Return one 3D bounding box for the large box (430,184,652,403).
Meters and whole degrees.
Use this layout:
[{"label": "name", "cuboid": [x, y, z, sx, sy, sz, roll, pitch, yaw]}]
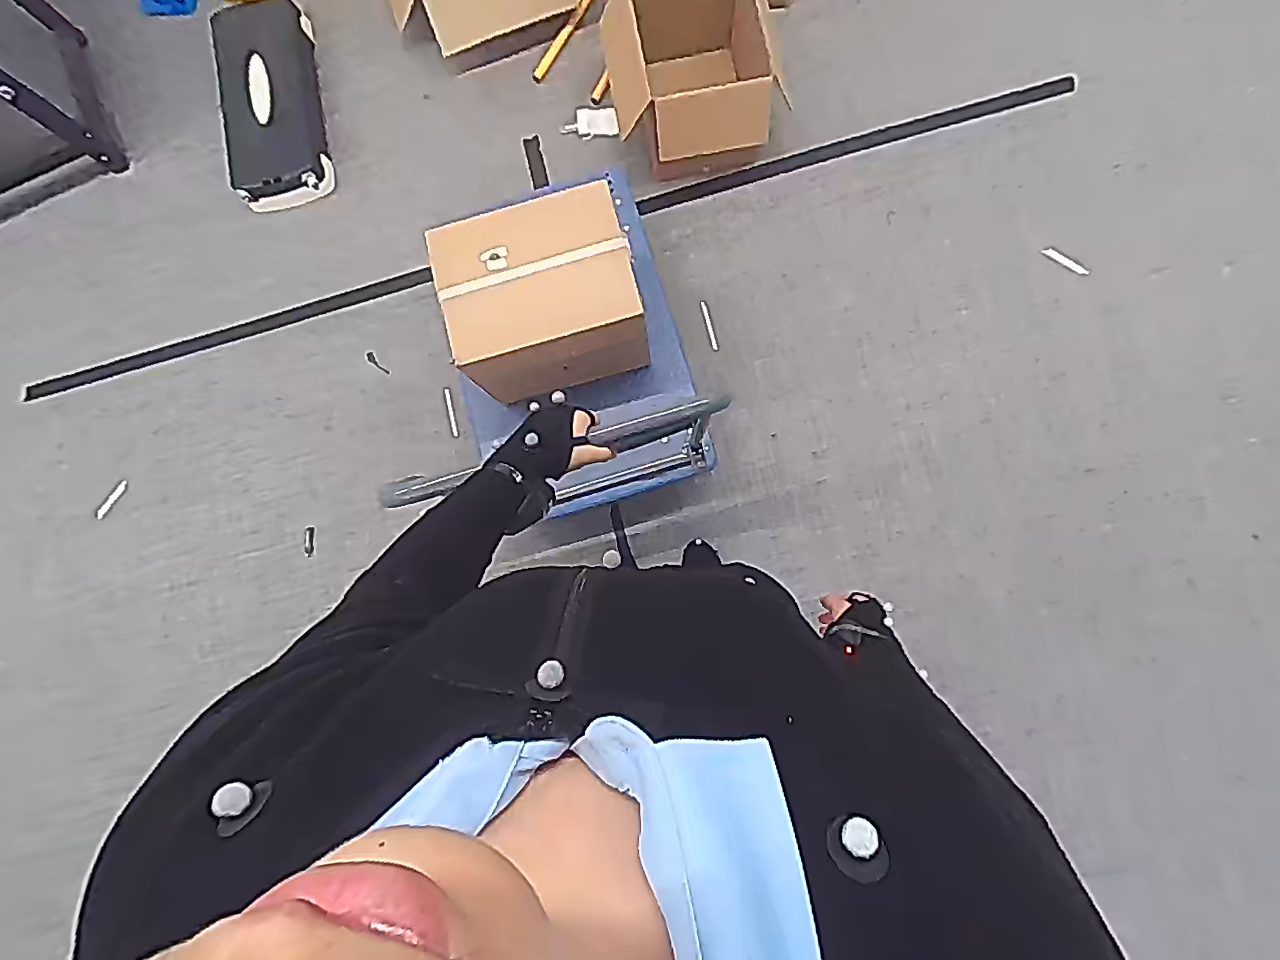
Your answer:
[{"label": "large box", "cuboid": [-0.211, -0.412, 1.279, 0.408, 0.320, 0.320, -16, 81, 3]}]
